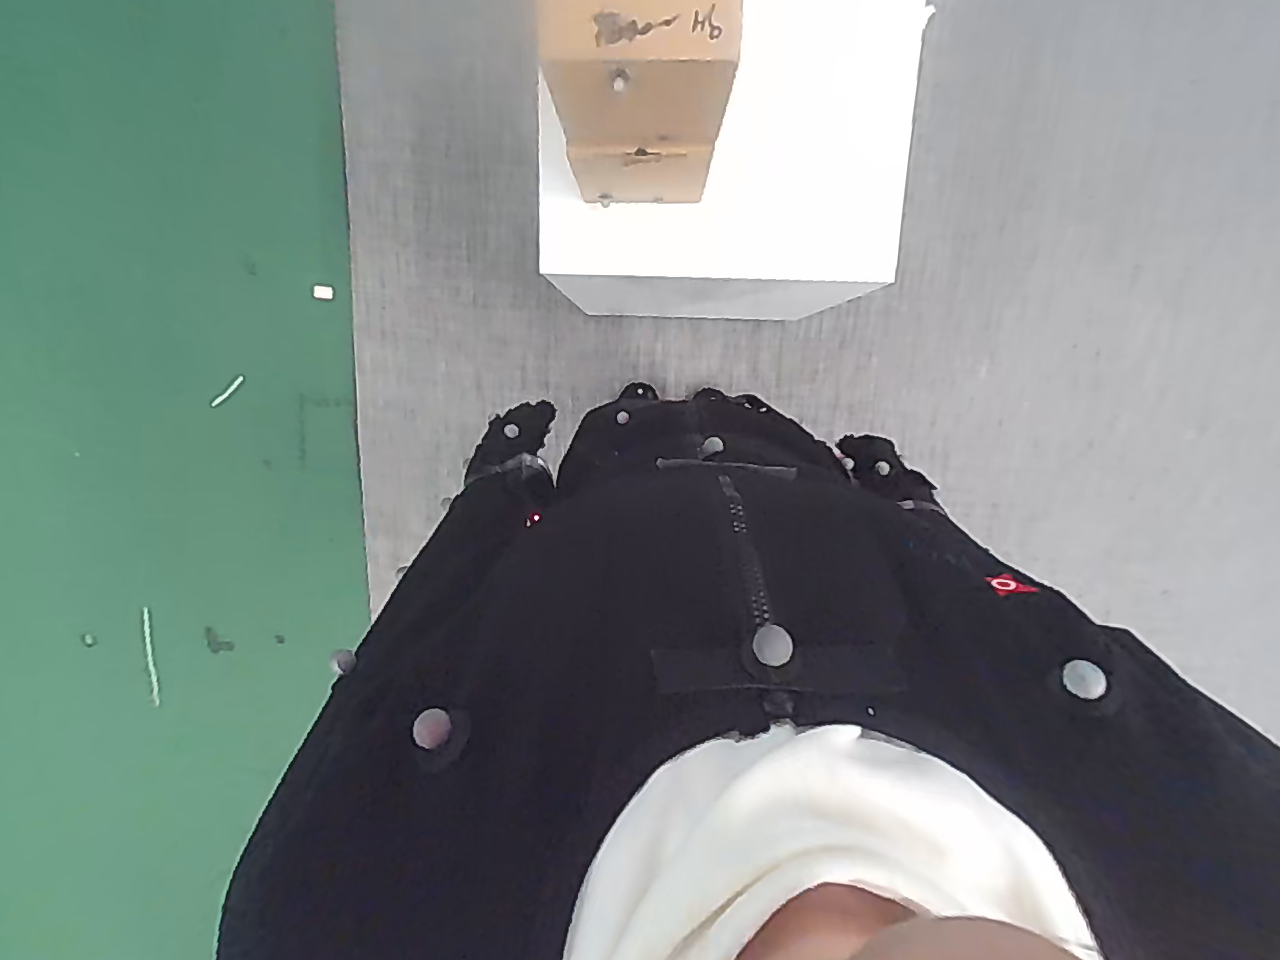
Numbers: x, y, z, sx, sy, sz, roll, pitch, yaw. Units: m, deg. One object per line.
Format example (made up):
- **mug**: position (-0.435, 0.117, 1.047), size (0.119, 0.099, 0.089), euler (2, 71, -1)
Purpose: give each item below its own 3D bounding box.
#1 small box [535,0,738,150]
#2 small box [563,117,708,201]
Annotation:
- **small box**: position (-0.001, -0.439, 0.504), size (0.168, 0.176, 0.179), euler (1, 100, 2)
- **small box**: position (-0.001, -0.460, 0.666), size (0.168, 0.176, 0.179), euler (1, 100, 1)
